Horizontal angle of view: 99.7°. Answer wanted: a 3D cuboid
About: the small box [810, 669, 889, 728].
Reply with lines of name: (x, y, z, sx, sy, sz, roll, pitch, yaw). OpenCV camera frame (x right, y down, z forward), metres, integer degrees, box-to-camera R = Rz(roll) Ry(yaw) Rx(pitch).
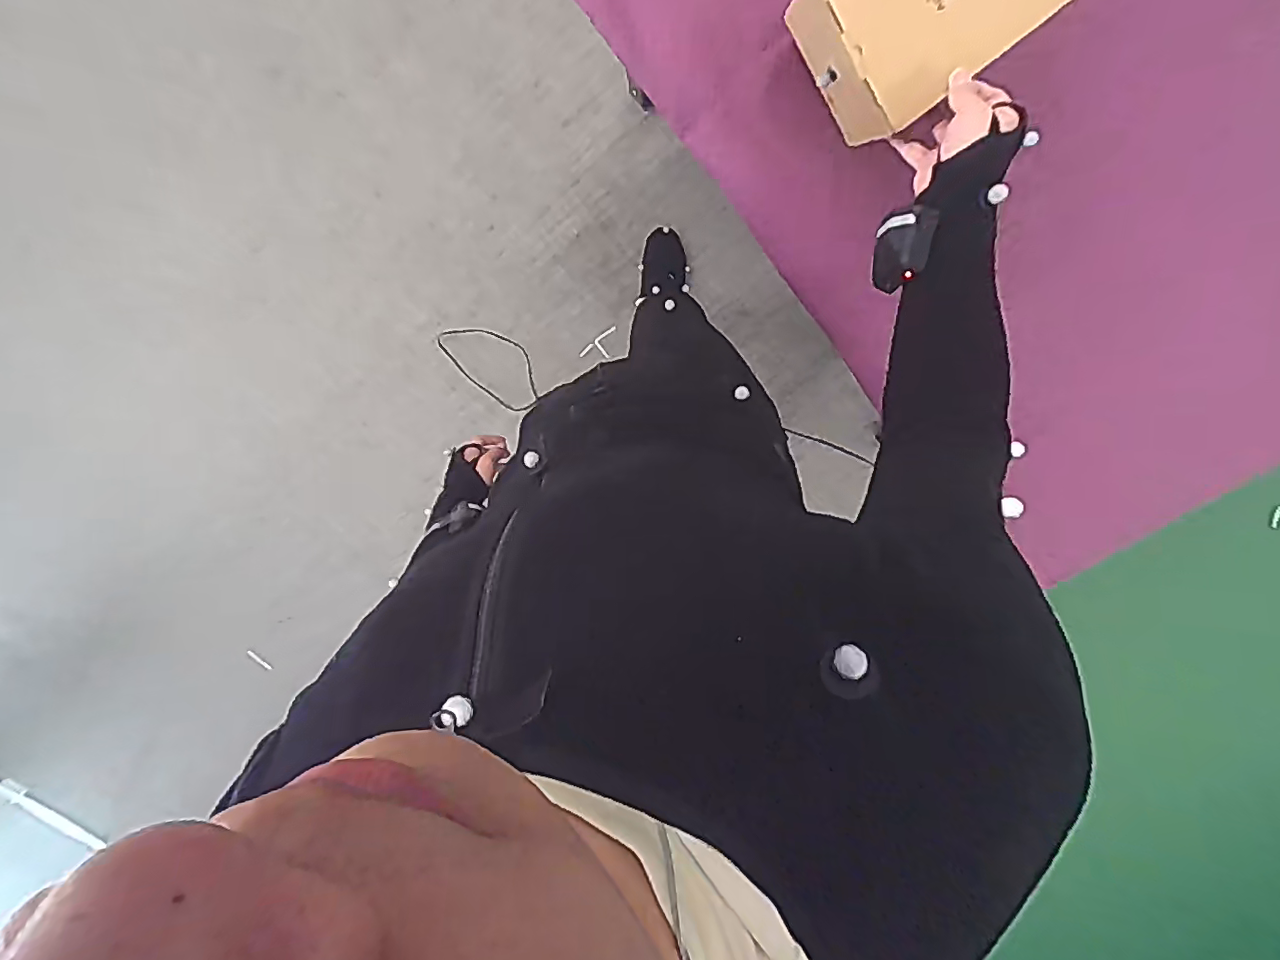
small box: (0.722, 0.789, 1.882, 0.168, 0.176, 0.179, -38, 107, 15)

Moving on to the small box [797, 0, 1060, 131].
small box: (0.274, -0.486, 0.543, 0.179, 0.176, 0.168, -32, 111, 22)
